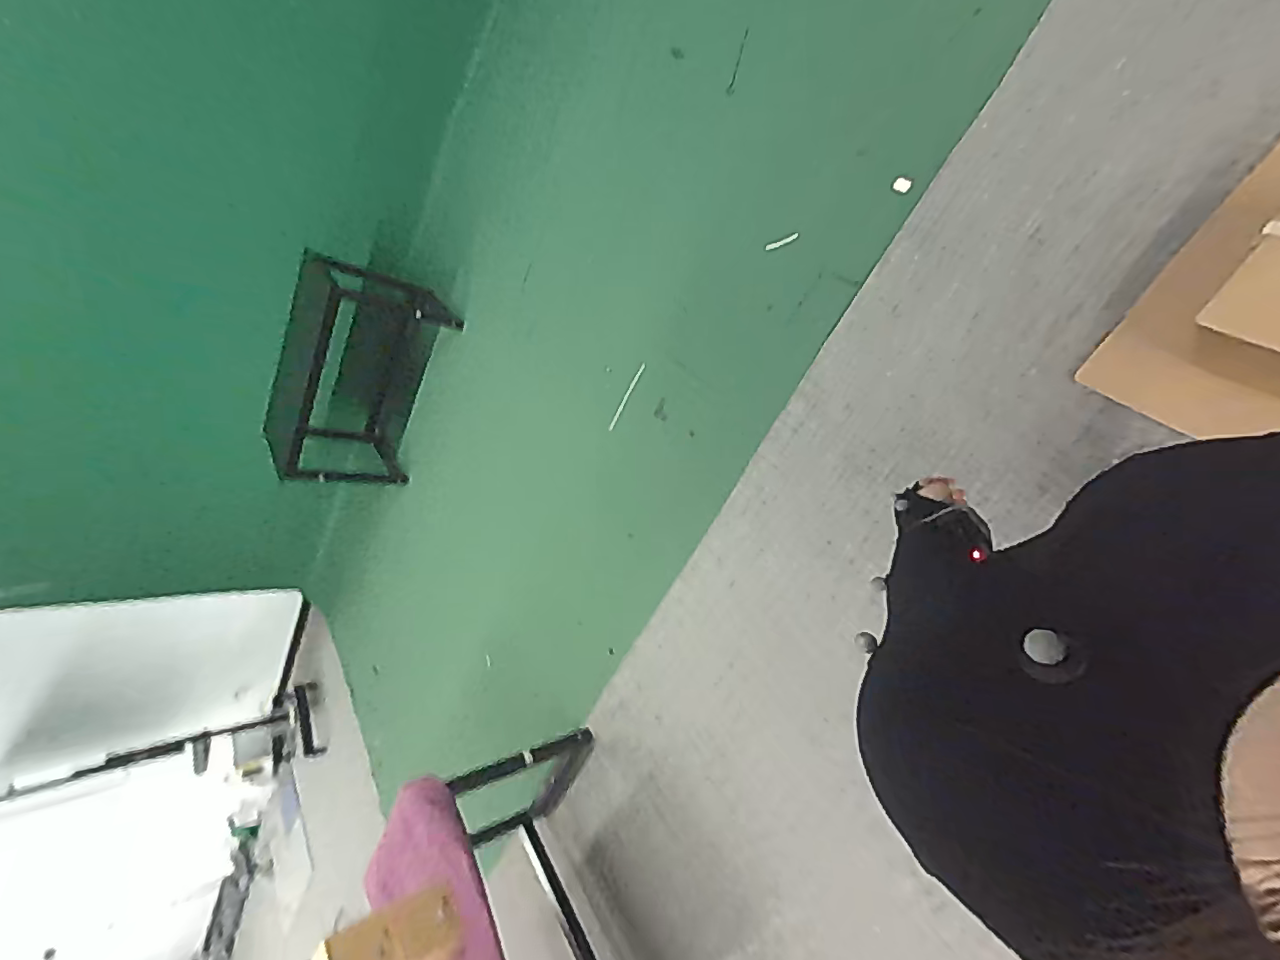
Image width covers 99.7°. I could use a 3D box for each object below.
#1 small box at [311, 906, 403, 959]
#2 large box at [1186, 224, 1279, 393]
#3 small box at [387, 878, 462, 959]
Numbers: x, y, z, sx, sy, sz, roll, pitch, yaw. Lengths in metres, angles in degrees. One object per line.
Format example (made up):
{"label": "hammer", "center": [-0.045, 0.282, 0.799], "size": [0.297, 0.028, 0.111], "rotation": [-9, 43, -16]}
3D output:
{"label": "small box", "center": [-0.742, 1.278, 1.413], "size": [0.168, 0.176, 0.179], "rotation": [45, 117, 36]}
{"label": "large box", "center": [1.181, -0.267, 0.815], "size": [0.408, 0.320, 0.320], "rotation": [44, 117, 35]}
{"label": "small box", "center": [-0.627, 1.283, 1.528], "size": [0.168, 0.176, 0.179], "rotation": [46, 117, 35]}
